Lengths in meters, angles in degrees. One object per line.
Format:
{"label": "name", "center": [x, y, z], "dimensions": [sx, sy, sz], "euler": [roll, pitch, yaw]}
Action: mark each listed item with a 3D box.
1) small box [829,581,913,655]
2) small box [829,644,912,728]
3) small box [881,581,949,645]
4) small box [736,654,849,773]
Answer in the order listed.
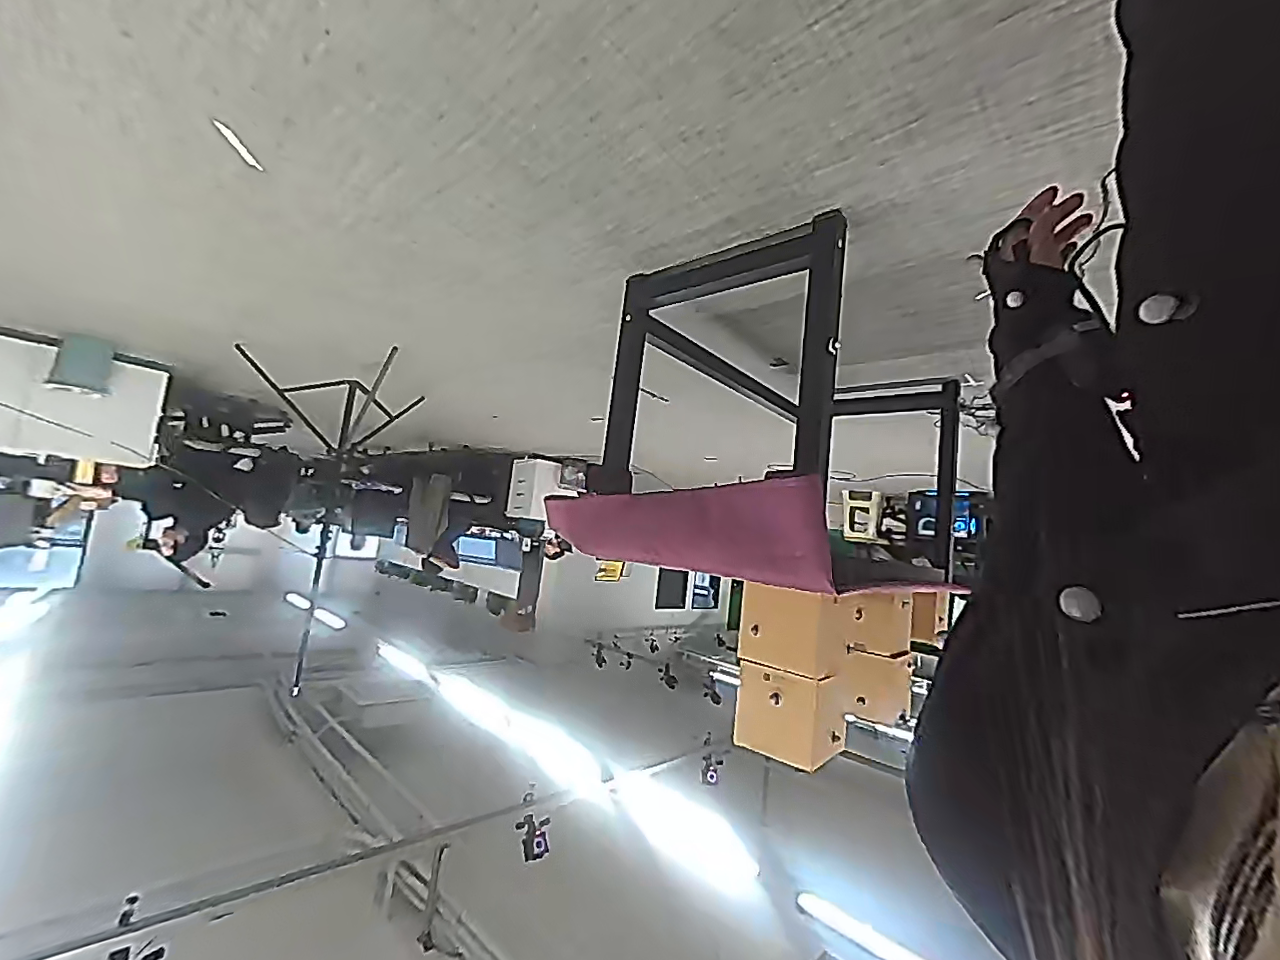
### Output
{"label": "small box", "center": [0.621, 0.363, 1.448], "dimensions": [0.168, 0.176, 0.179], "euler": [1, 171, 41]}
{"label": "small box", "center": [0.605, 0.526, 1.424], "dimensions": [0.179, 0.176, 0.168], "euler": [2, 173, 41]}
{"label": "small box", "center": [0.876, 0.420, 1.726], "dimensions": [0.179, 0.176, 0.168], "euler": [2, 171, 42]}
{"label": "small box", "center": [0.315, 0.461, 1.103], "dimensions": [0.168, 0.176, 0.179], "euler": [2, 173, 40]}
